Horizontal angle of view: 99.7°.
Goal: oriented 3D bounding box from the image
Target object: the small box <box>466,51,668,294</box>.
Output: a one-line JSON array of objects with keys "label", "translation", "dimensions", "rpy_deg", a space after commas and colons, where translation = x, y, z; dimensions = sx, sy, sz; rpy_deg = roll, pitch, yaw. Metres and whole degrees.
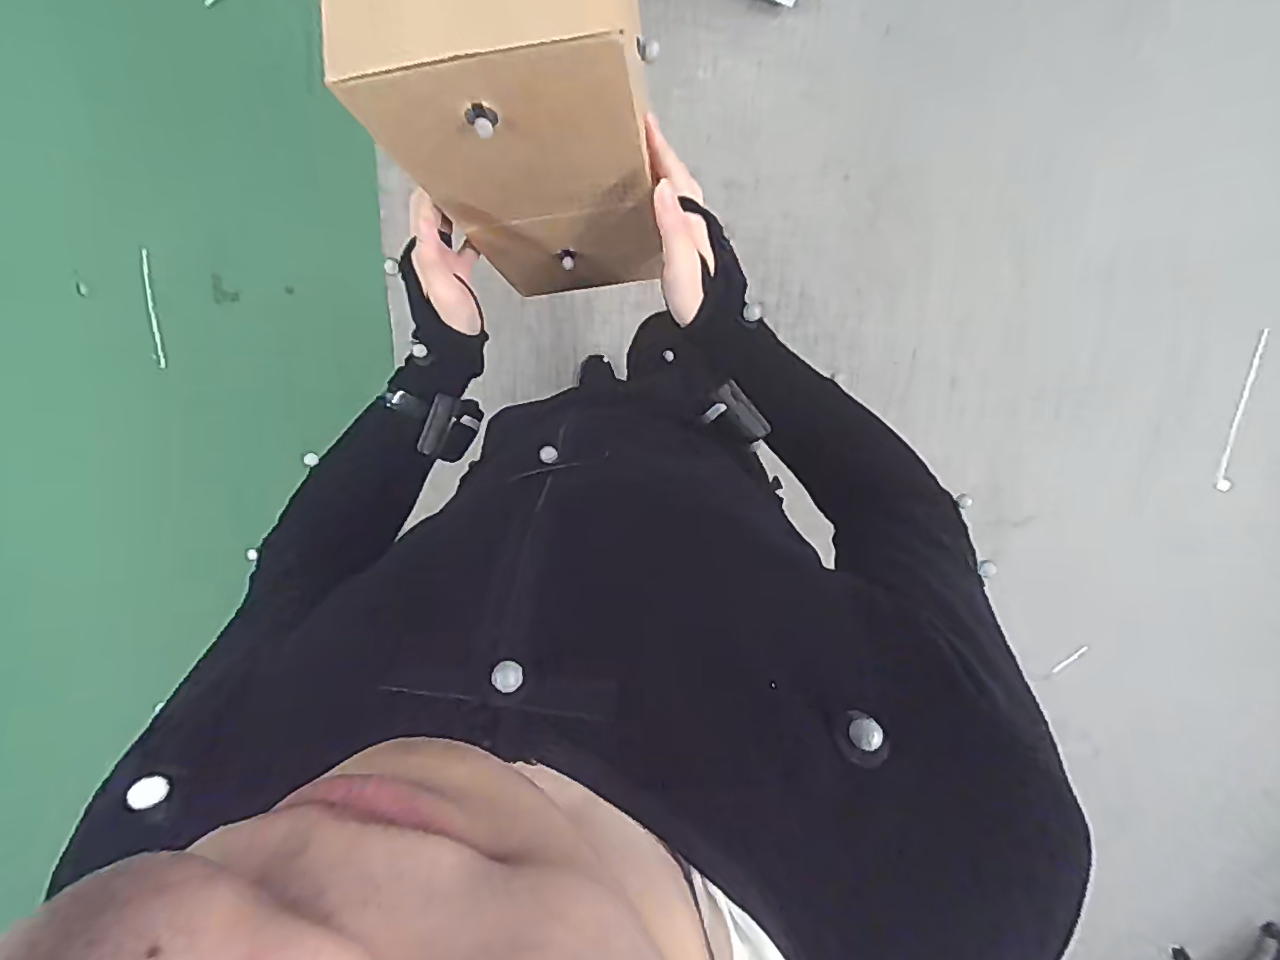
[{"label": "small box", "translation": [-0.065, -0.306, 0.549], "dimensions": [0.179, 0.176, 0.168], "rpy_deg": [-5, 87, 6]}]

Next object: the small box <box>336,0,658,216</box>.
[{"label": "small box", "translation": [-0.084, -0.312, 0.386], "dimensions": [0.179, 0.176, 0.168], "rpy_deg": [-4, 88, 6]}]
